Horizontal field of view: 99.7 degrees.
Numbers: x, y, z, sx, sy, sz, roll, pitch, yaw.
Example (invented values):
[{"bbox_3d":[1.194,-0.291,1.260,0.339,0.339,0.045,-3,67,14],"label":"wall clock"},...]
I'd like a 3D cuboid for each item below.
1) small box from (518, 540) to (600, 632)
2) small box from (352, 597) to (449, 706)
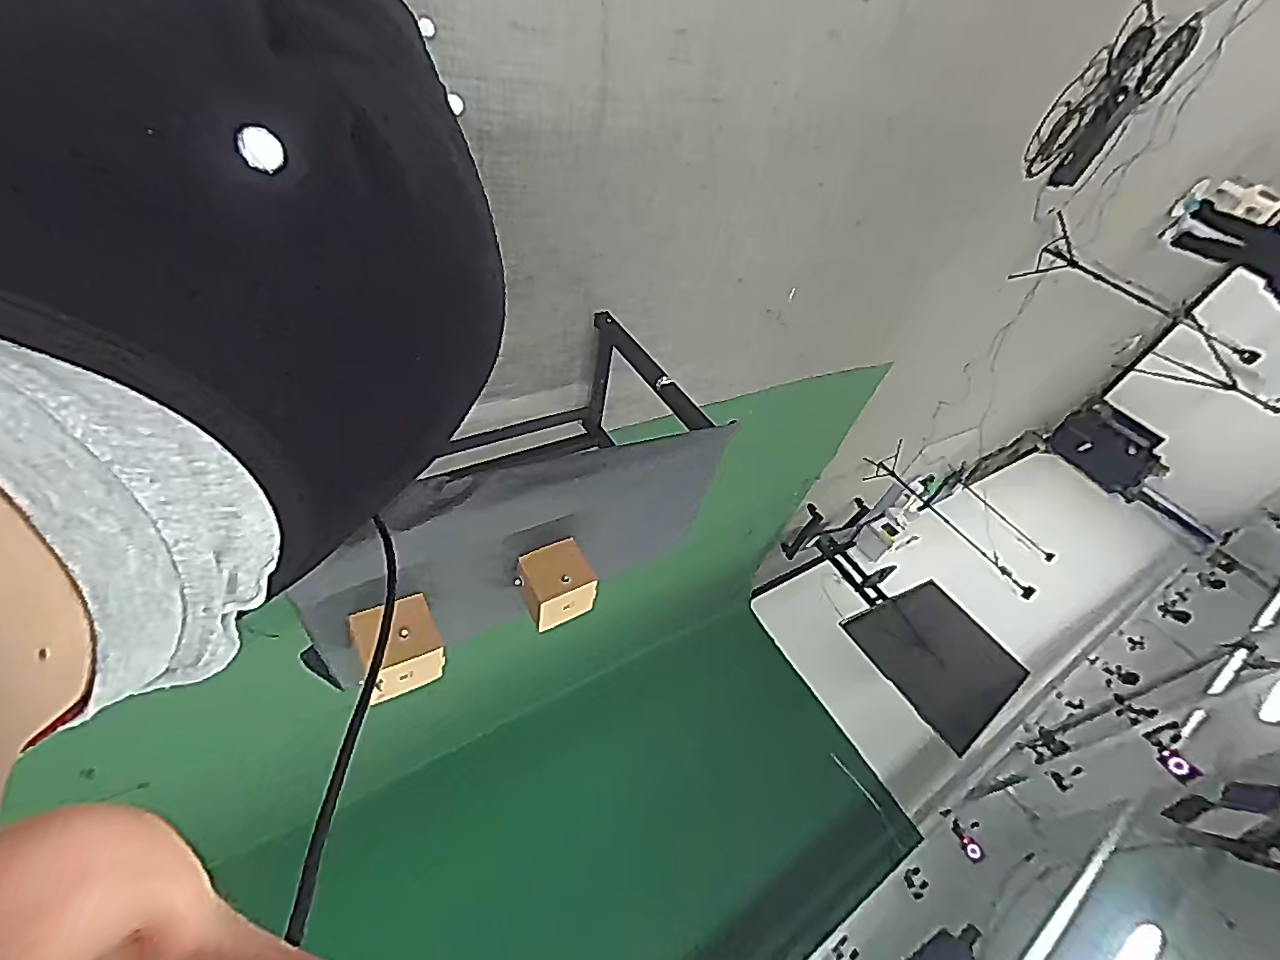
[{"bbox_3d":[-0.238,0.301,1.570,0.179,0.176,0.168,-19,143,-27],"label":"small box"},{"bbox_3d":[-0.597,0.422,1.353,0.179,0.176,0.168,-16,143,-33],"label":"small box"}]
